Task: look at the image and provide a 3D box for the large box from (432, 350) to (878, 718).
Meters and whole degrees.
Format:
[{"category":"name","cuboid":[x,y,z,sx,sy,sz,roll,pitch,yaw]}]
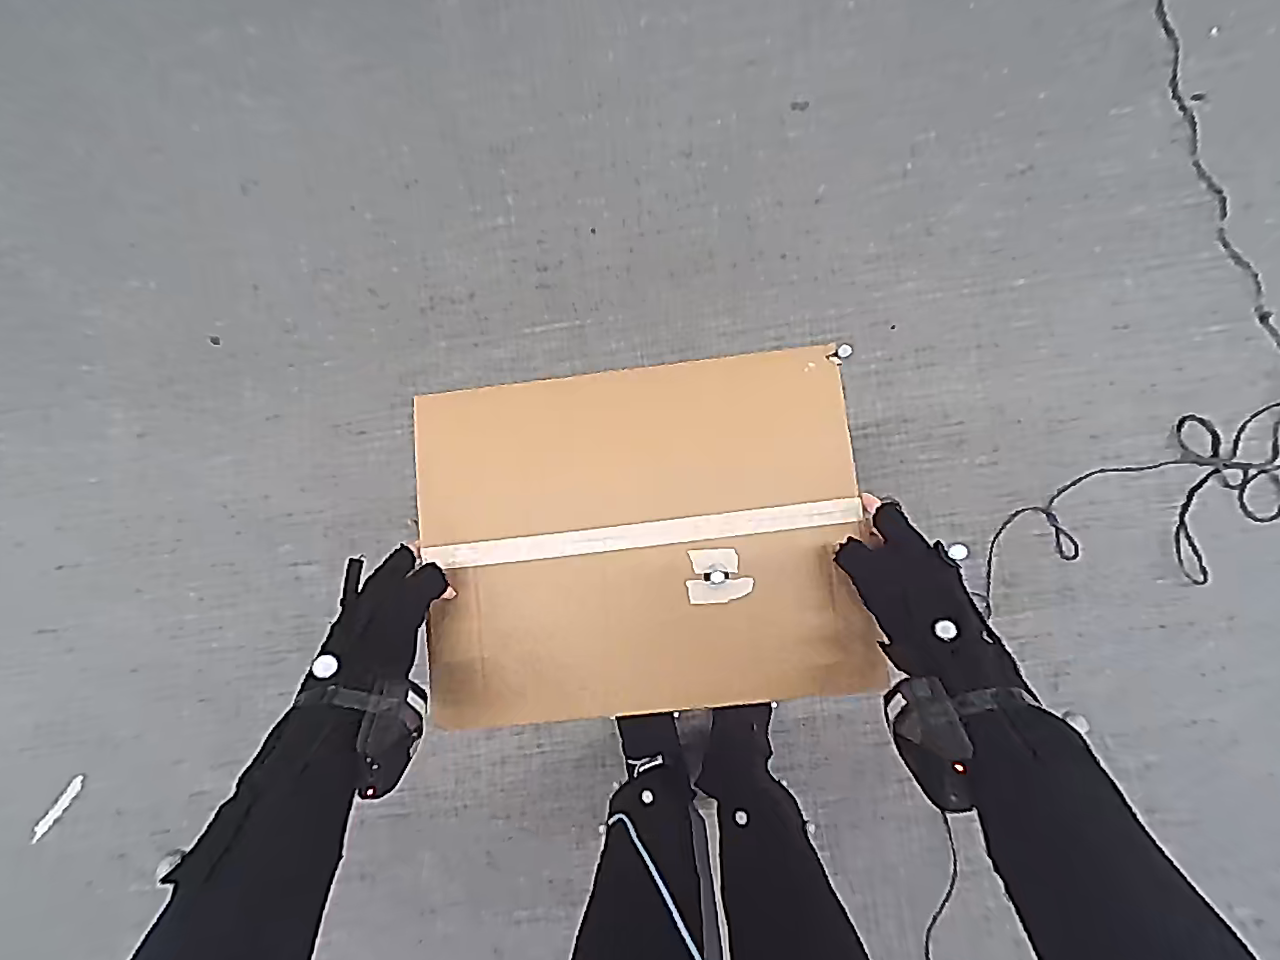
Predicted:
[{"category":"large box","cuboid":[0.010,0.067,0.665,0.408,0.320,0.320,-7,83,2]}]
